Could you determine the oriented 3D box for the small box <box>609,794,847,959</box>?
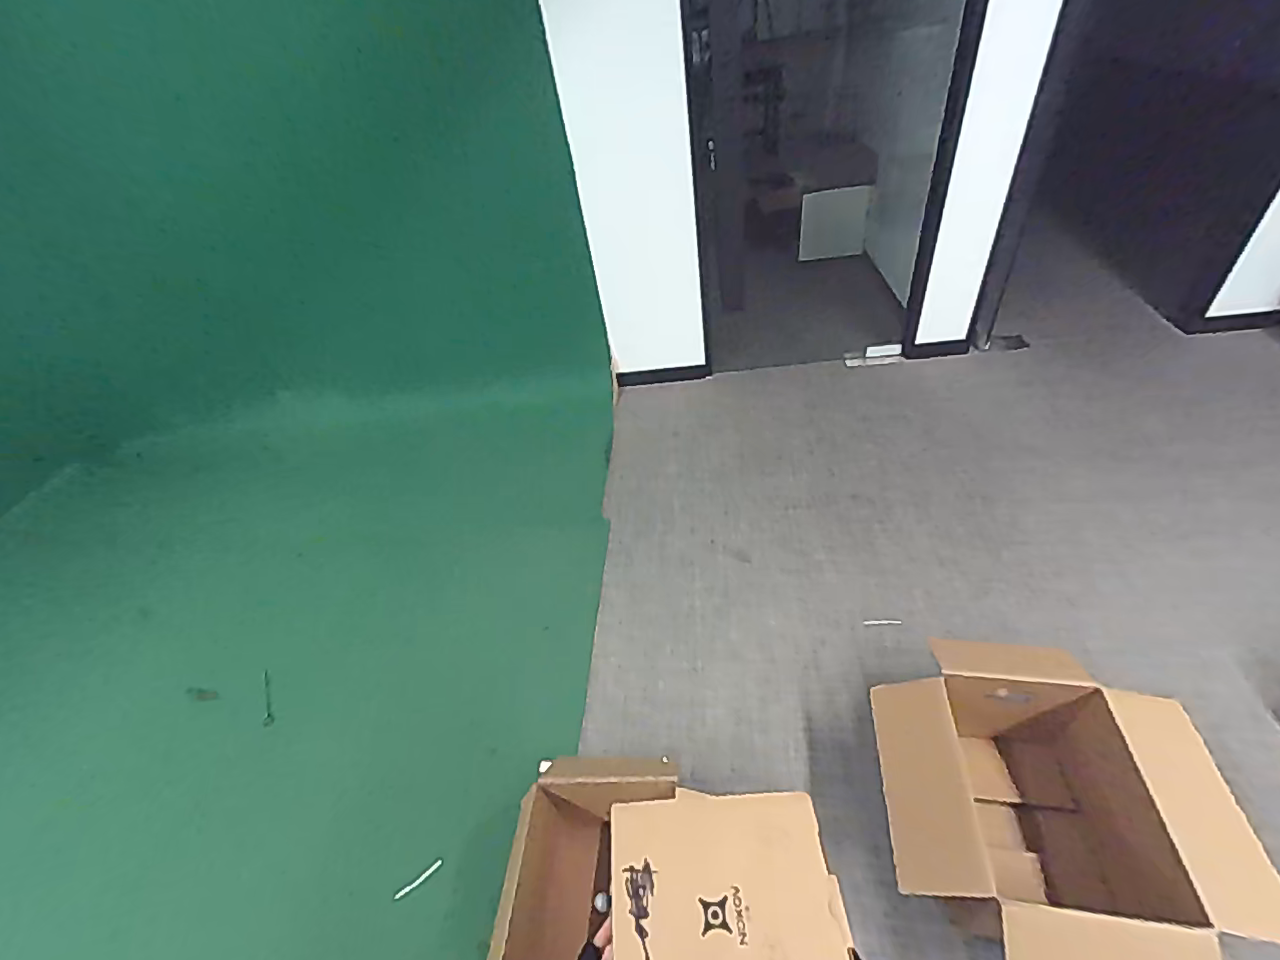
[{"bbox_3d":[0.063,0.391,0.469,0.179,0.176,0.168,-1,41,-1],"label":"small box"}]
